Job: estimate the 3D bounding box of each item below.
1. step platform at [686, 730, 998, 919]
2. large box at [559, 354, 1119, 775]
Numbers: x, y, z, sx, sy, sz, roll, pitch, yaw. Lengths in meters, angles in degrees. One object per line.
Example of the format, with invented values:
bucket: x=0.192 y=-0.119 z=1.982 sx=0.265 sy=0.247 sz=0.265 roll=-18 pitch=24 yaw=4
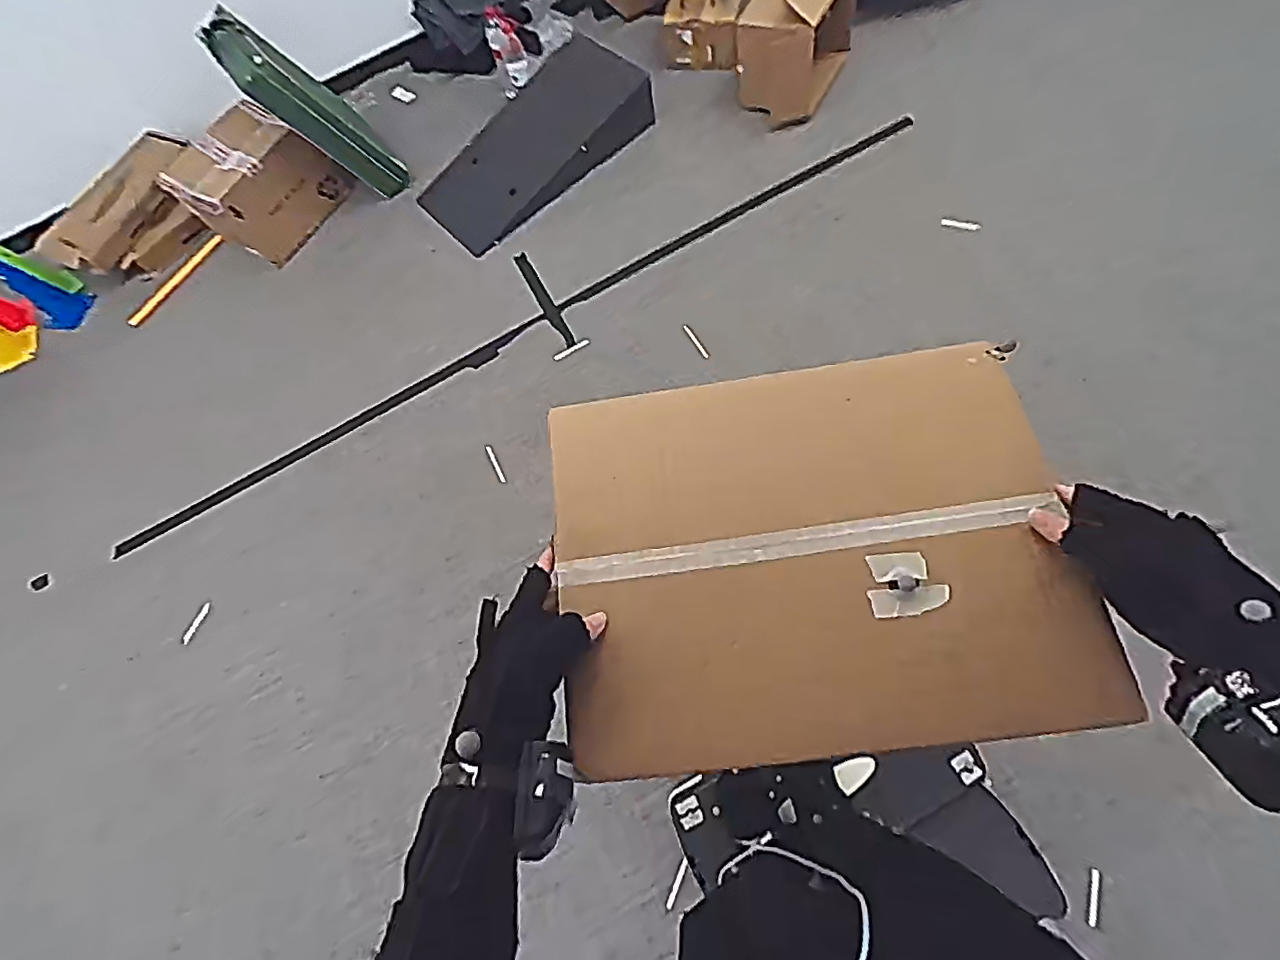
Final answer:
step platform: x=0.450 y=0.684 z=1.260 sx=0.684 sy=0.204 sz=0.286 roll=-30 pitch=67 yaw=-4
large box: x=0.150 y=0.106 z=0.592 sx=0.408 sy=0.320 sz=0.320 roll=-8 pitch=70 yaw=4
